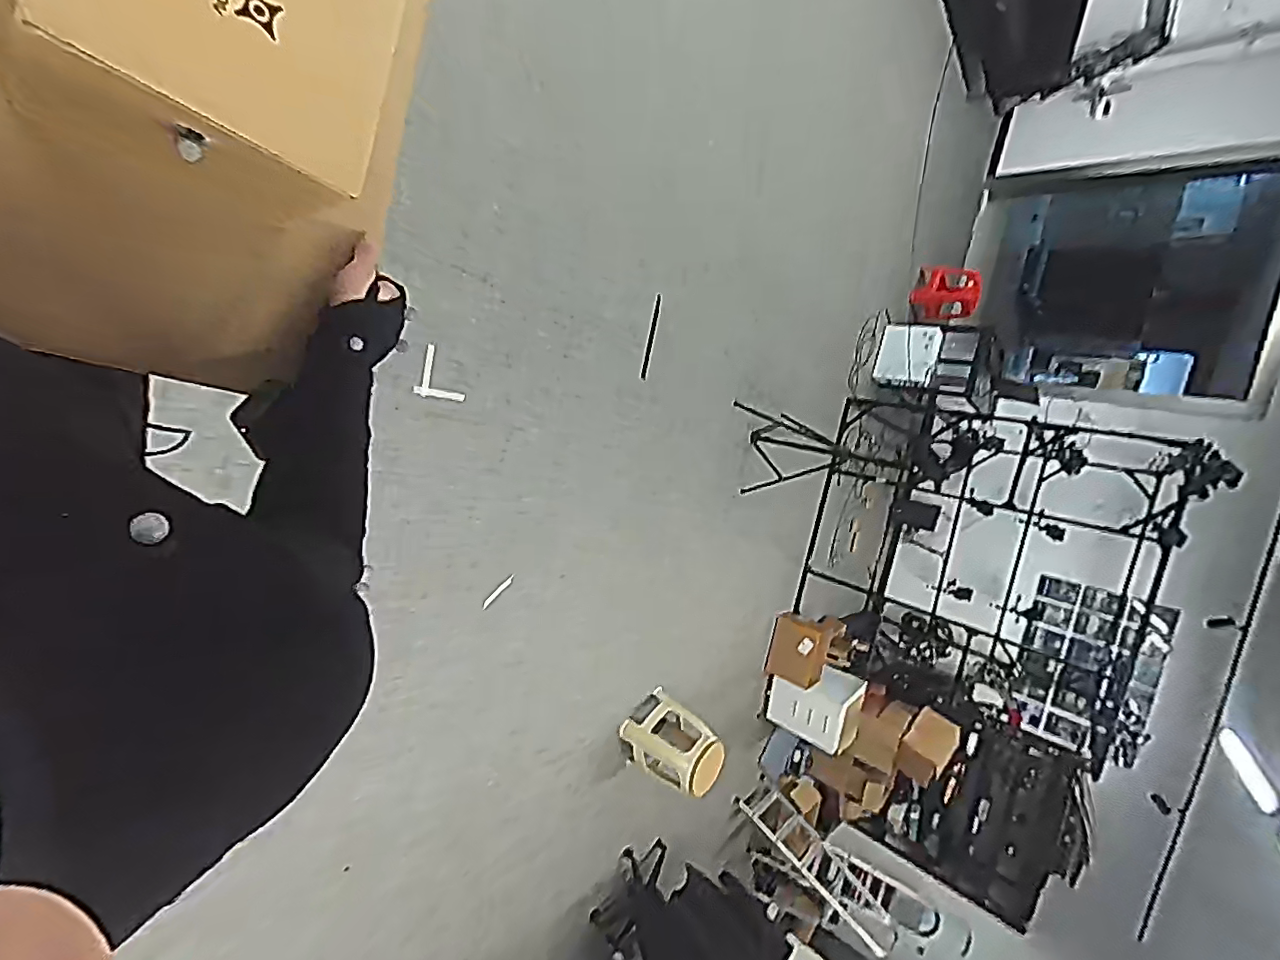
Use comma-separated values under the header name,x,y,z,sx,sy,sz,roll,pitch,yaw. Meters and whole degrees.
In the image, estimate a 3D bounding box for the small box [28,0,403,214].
name,x,y,z,sx,sy,sz,roll,pitch,yaw
small box,-0.320,-0.328,0.414,0.179,0.176,0.168,13,89,-50
